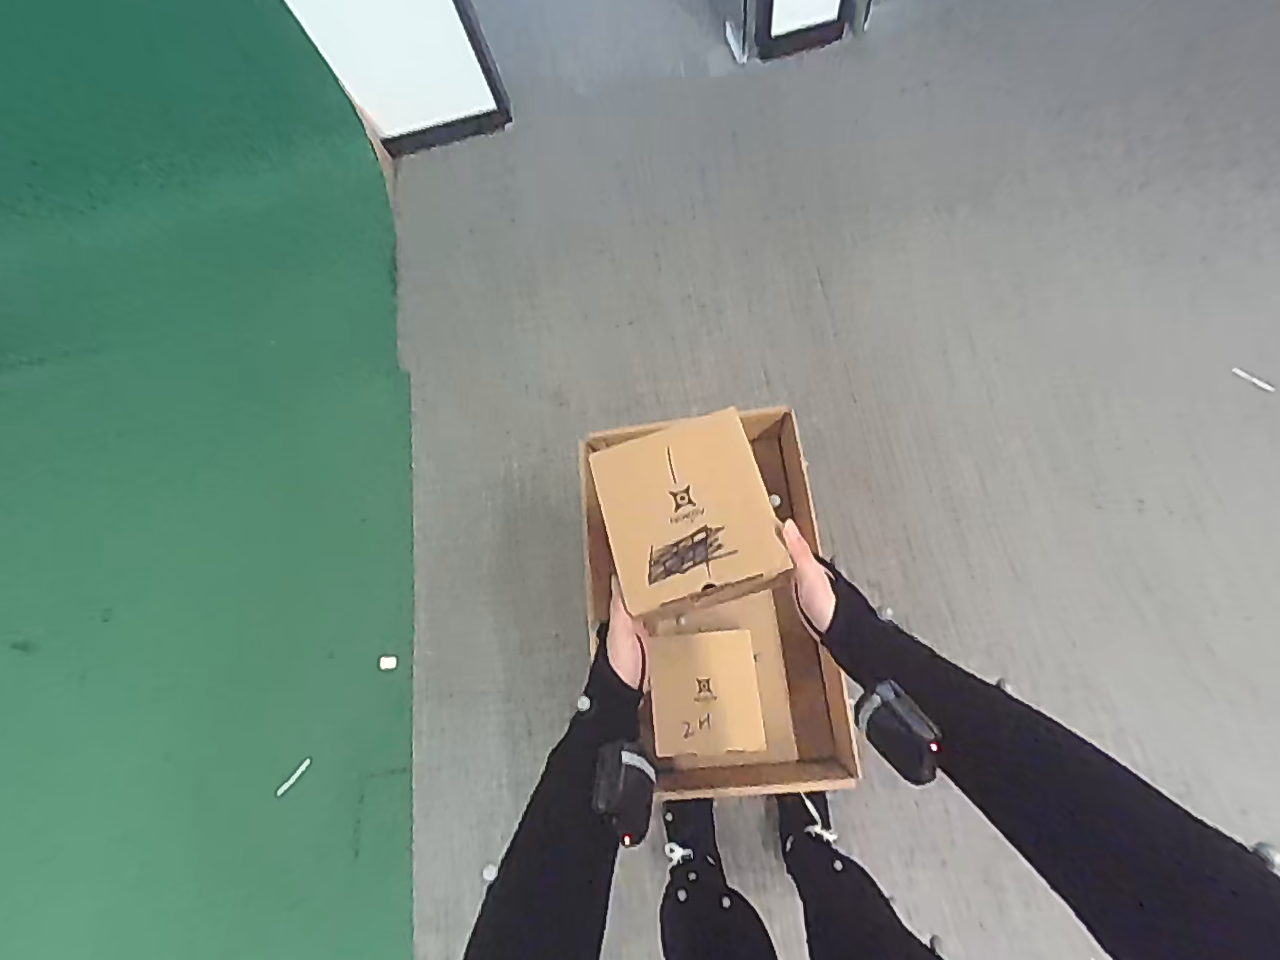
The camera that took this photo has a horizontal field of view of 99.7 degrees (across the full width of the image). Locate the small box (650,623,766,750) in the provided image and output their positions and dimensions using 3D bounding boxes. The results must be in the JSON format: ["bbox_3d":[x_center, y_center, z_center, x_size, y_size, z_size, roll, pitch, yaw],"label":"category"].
[{"bbox_3d":[0.112,0.339,0.902,0.168,0.176,0.179,-7,72,8],"label":"small box"}]

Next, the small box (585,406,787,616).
[{"bbox_3d":[0.057,0.048,0.611,0.168,0.176,0.179,-19,70,6],"label":"small box"}]
